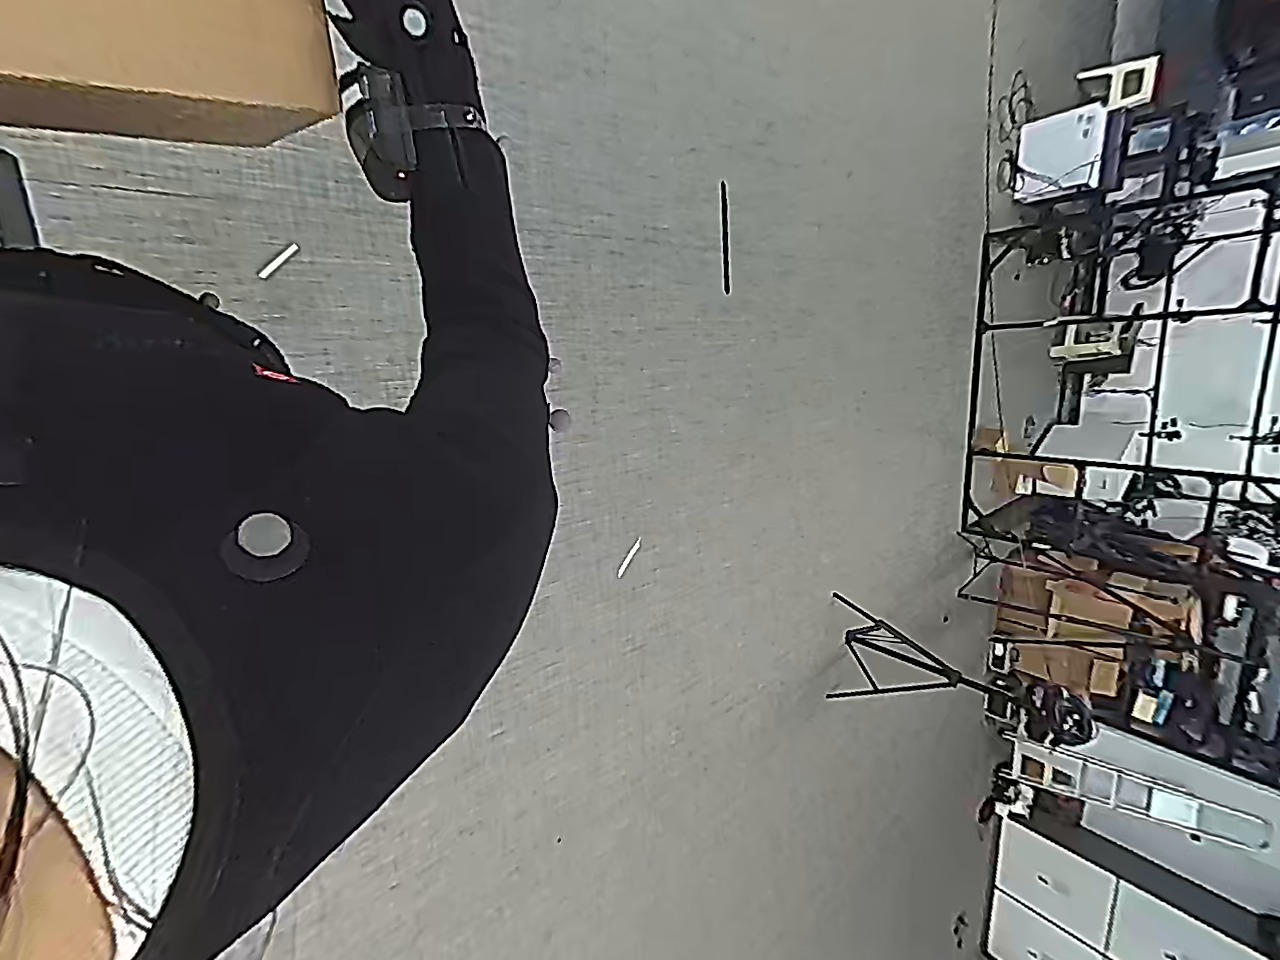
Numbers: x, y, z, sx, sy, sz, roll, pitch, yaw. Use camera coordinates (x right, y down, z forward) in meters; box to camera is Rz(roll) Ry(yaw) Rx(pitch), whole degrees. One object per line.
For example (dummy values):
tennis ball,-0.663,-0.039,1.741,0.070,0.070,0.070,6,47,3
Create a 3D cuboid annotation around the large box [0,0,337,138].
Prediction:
large box,-0.448,-0.382,0.281,0.408,0.320,0.320,-20,125,-36
